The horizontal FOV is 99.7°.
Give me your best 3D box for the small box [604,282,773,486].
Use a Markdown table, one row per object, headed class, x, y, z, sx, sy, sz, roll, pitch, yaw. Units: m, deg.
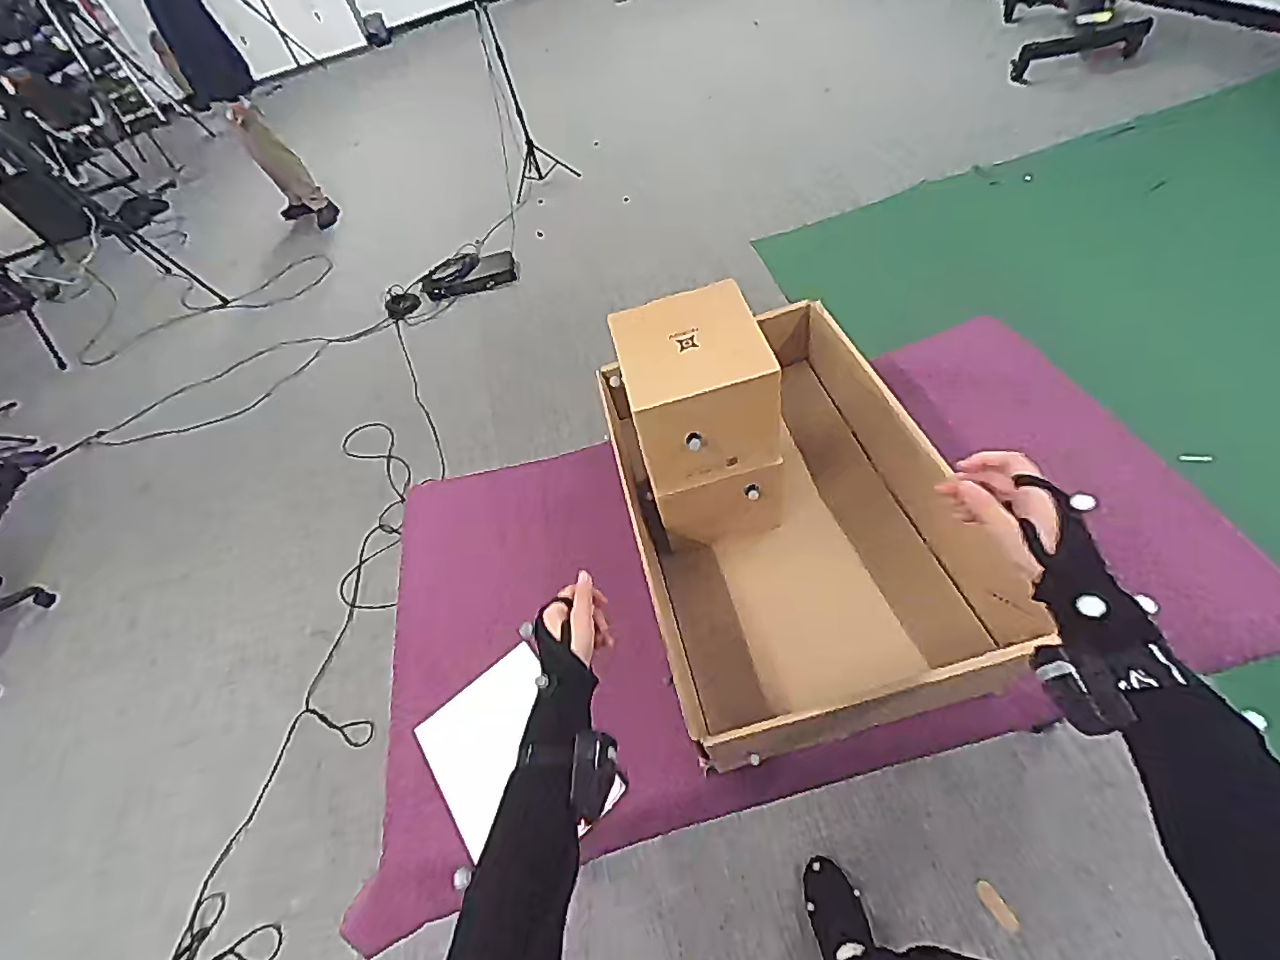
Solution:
| class | x | y | z | sx | sy | sz | roll | pitch | yaw |
| --- | --- | --- | --- | --- | --- | --- | --- | --- | --- |
| small box | 0.065 | -0.111 | 0.686 | 0.168 | 0.176 | 0.179 | -16 | 52 | 2 |
